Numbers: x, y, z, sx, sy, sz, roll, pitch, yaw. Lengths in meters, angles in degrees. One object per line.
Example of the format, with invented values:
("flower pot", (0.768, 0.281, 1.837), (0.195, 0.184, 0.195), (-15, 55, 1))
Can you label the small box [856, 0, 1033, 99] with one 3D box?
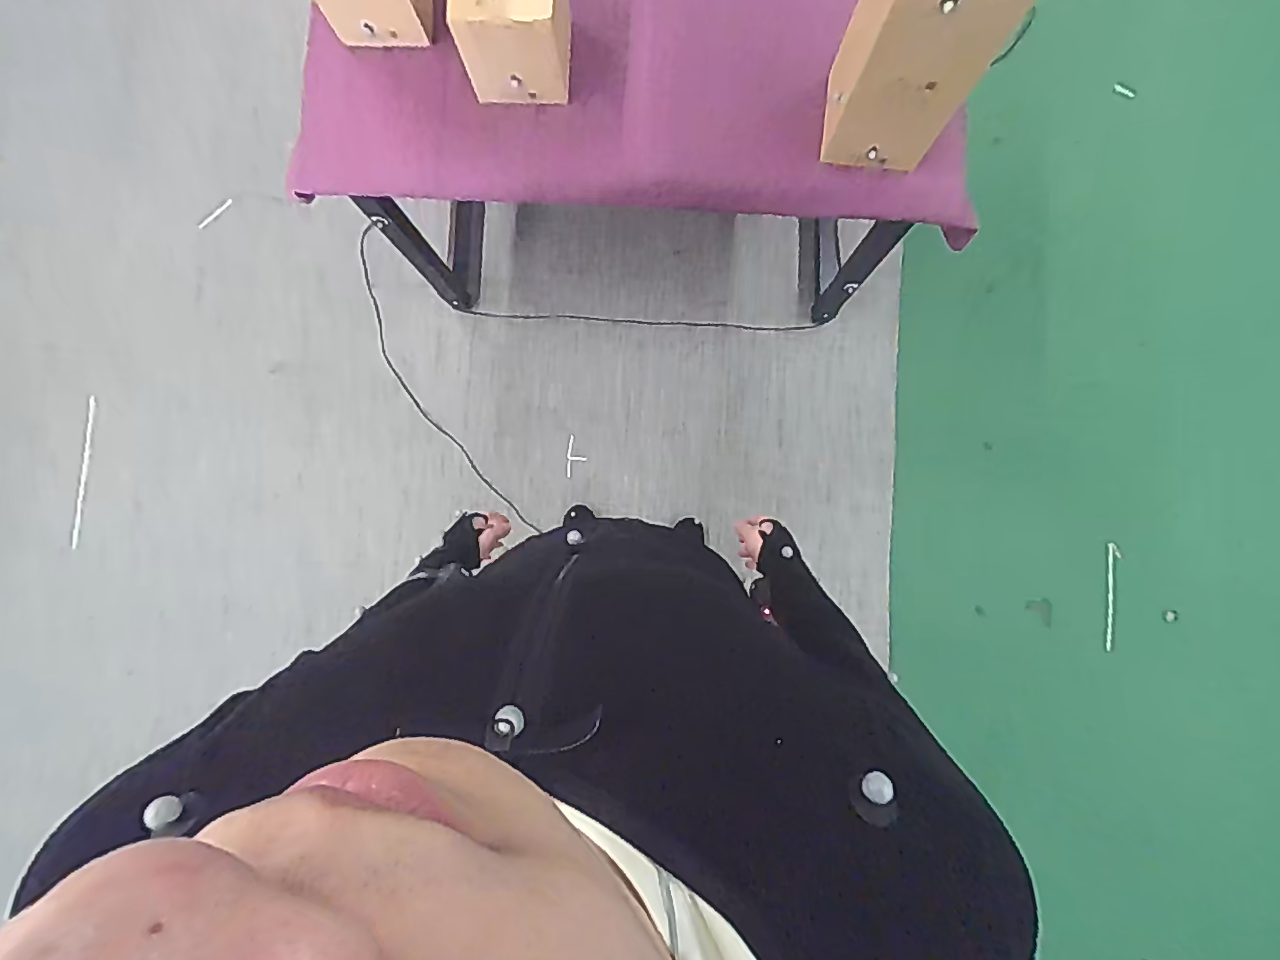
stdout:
("small box", (0.406, -0.664, 0.726), (0.168, 0.176, 0.179), (8, 85, 3))

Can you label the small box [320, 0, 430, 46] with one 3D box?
("small box", (-0.470, -0.897, 0.923), (0.168, 0.176, 0.179), (1, 87, 1))

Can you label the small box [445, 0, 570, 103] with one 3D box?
("small box", (-0.213, -0.784, 0.911), (0.168, 0.176, 0.179), (2, 86, 1))
